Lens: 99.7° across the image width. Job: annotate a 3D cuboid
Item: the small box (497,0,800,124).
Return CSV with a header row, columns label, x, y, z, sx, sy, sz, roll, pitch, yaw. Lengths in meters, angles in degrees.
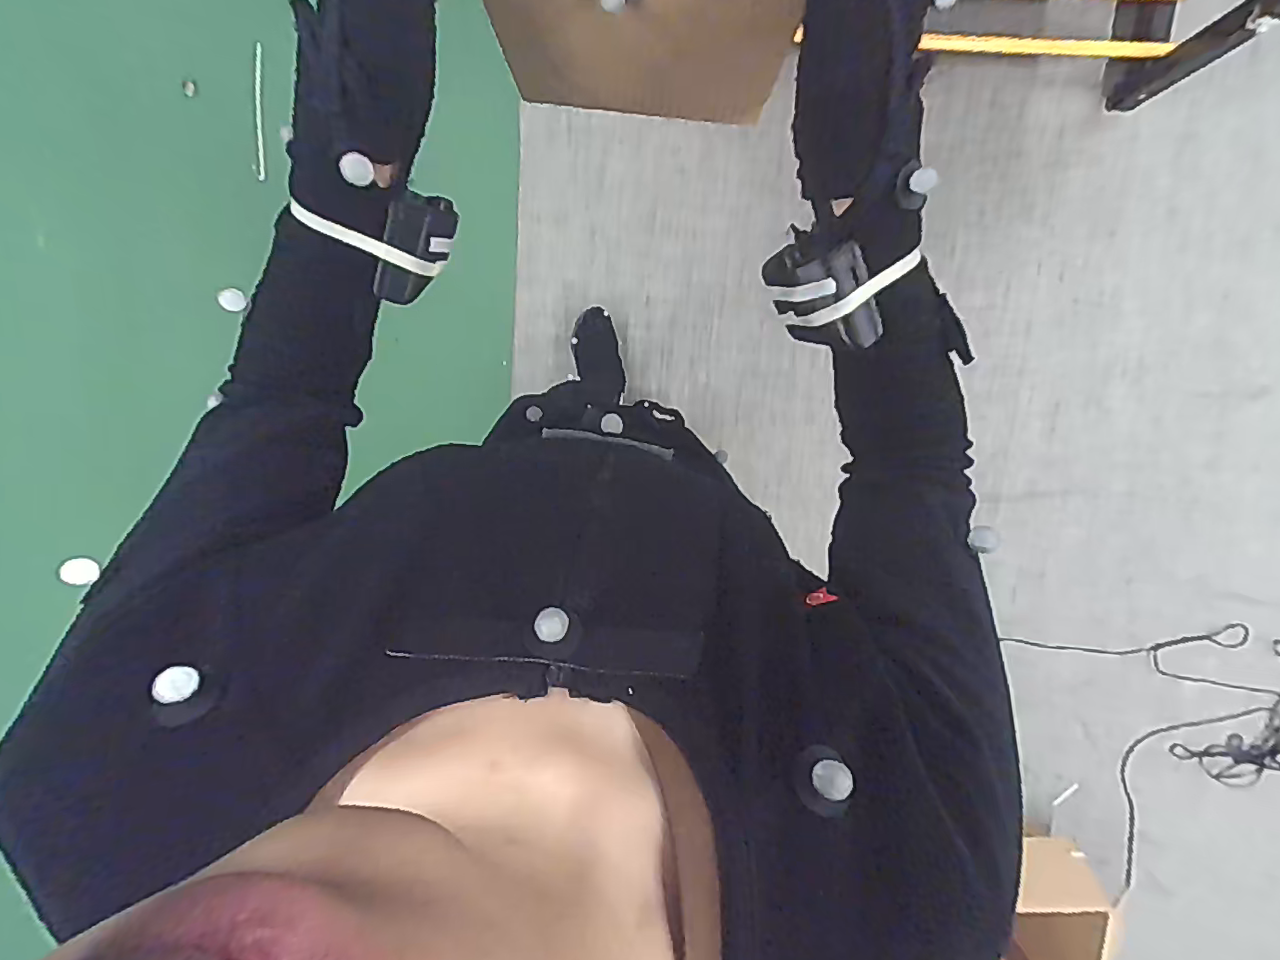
label,x,y,z,sx,sy,sz,roll,pitch,yaw
small box,0.009,-0.334,0.307,0.179,0.176,0.168,5,98,-1
